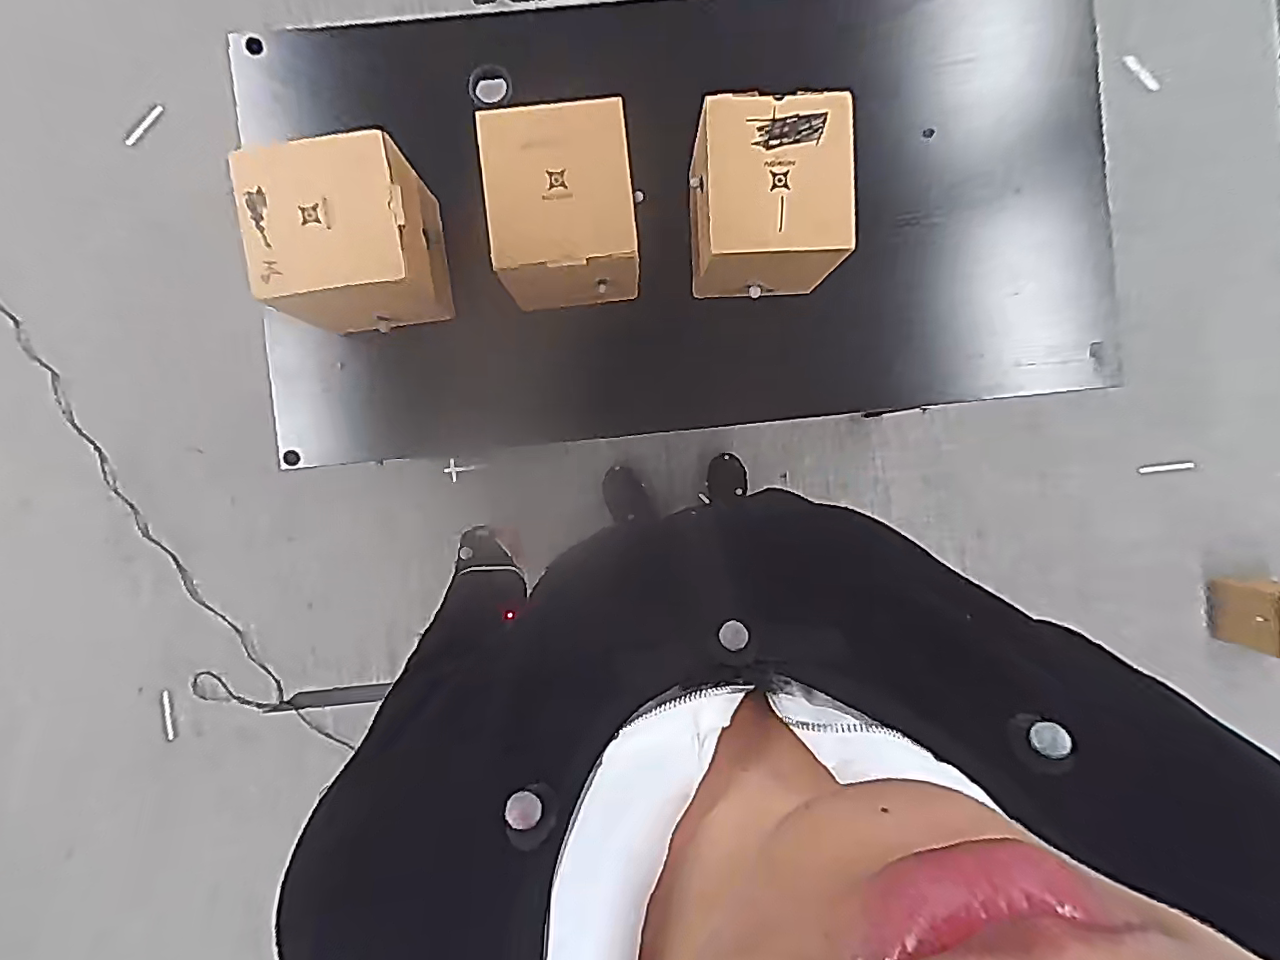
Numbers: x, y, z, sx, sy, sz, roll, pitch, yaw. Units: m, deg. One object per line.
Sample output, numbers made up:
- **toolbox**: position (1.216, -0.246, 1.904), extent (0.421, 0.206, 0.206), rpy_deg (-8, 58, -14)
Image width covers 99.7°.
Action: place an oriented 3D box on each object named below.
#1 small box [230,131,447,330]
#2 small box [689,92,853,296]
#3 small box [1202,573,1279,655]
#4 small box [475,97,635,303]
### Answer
- **small box**: position (-0.354, -0.296, 0.675), extent (0.179, 0.176, 0.168), rpy_deg (-9, 92, -2)
- **small box**: position (0.154, -0.347, 0.684), extent (0.168, 0.176, 0.179), rpy_deg (-2, 93, -1)
- **small box**: position (1.692, 0.355, 1.469), extent (0.168, 0.176, 0.179), rpy_deg (-6, 93, 0)
- **small box**: position (-0.095, -0.333, 0.681), extent (0.168, 0.176, 0.179), rpy_deg (-7, 91, -2)
